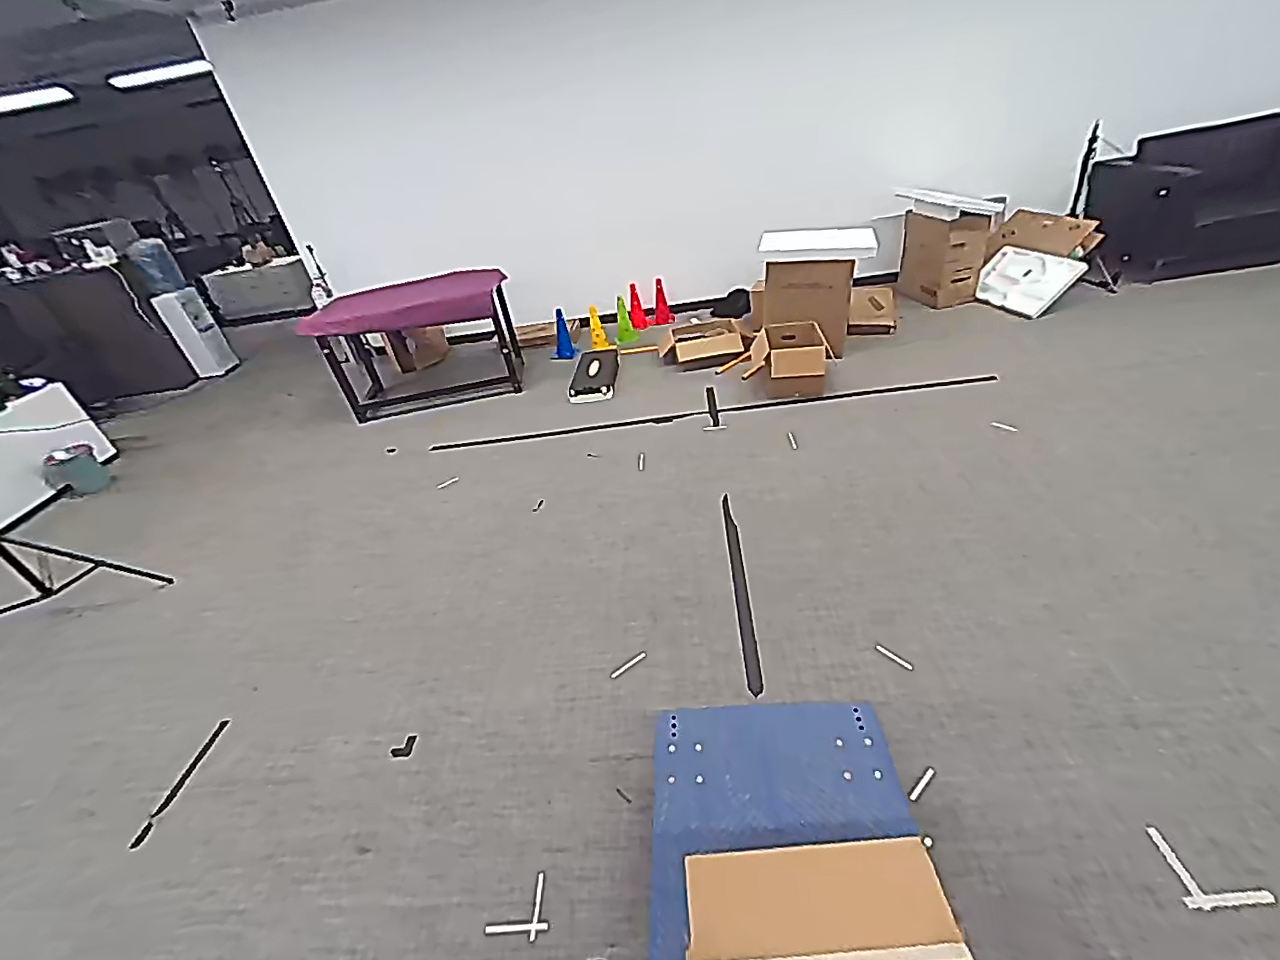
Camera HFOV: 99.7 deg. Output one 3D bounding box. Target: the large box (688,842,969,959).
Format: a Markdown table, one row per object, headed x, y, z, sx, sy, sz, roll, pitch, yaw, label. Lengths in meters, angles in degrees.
| x | y | z | sx | sy | sz | roll | pitch | yaw | label |
| --- | --- | --- | --- | --- | --- | --- | --- | --- | --- |
| 0.302 | 0.847 | 0.880 | 0.408 | 0.320 | 0.320 | -7 | 34 | 3 | large box |
